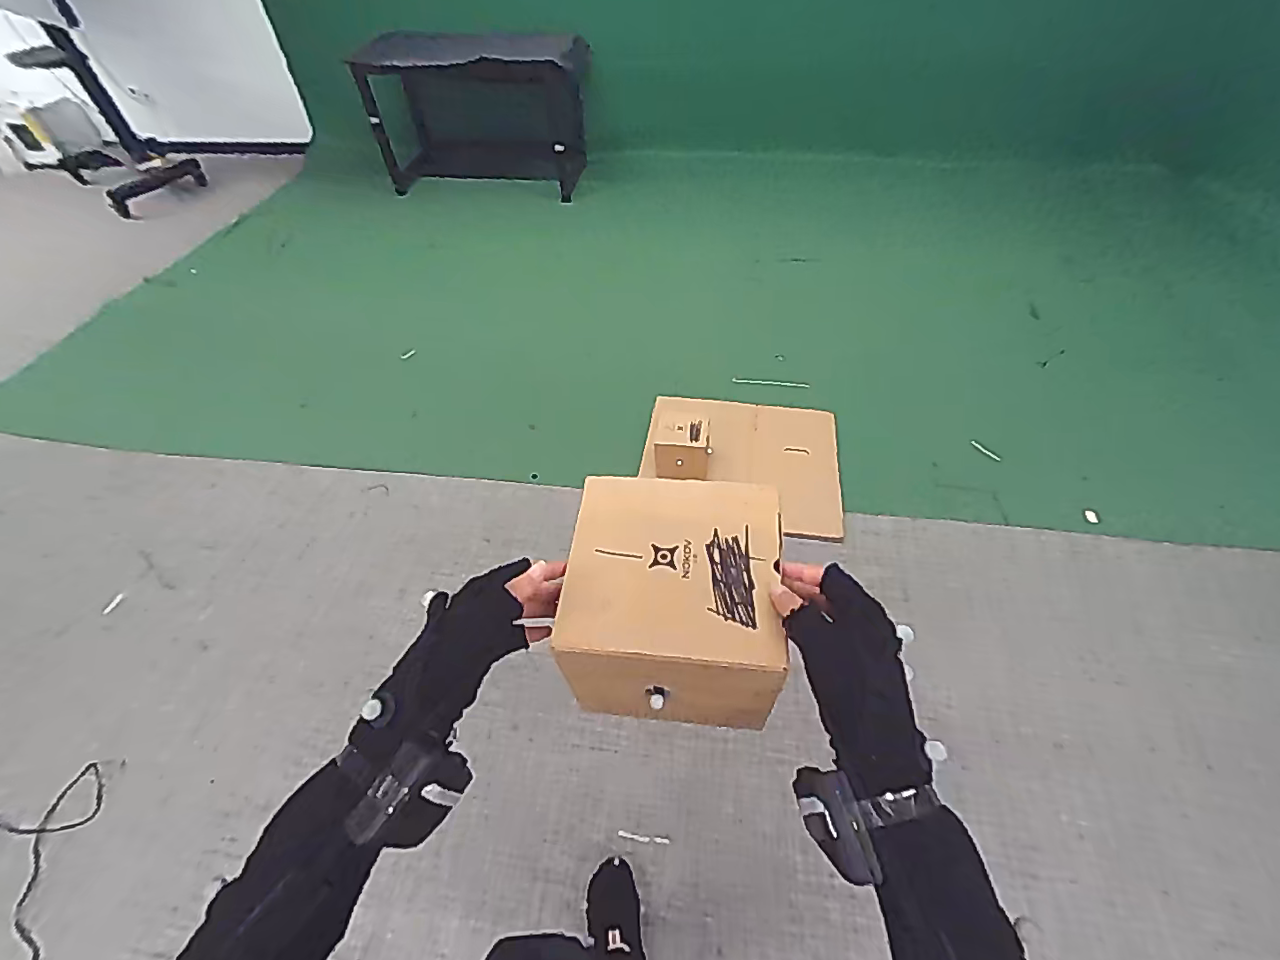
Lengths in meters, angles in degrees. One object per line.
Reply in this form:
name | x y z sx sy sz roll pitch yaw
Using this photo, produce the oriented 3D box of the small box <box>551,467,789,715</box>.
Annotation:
small box | 0.034 0.107 0.502 0.179 0.176 0.168 3 52 7
